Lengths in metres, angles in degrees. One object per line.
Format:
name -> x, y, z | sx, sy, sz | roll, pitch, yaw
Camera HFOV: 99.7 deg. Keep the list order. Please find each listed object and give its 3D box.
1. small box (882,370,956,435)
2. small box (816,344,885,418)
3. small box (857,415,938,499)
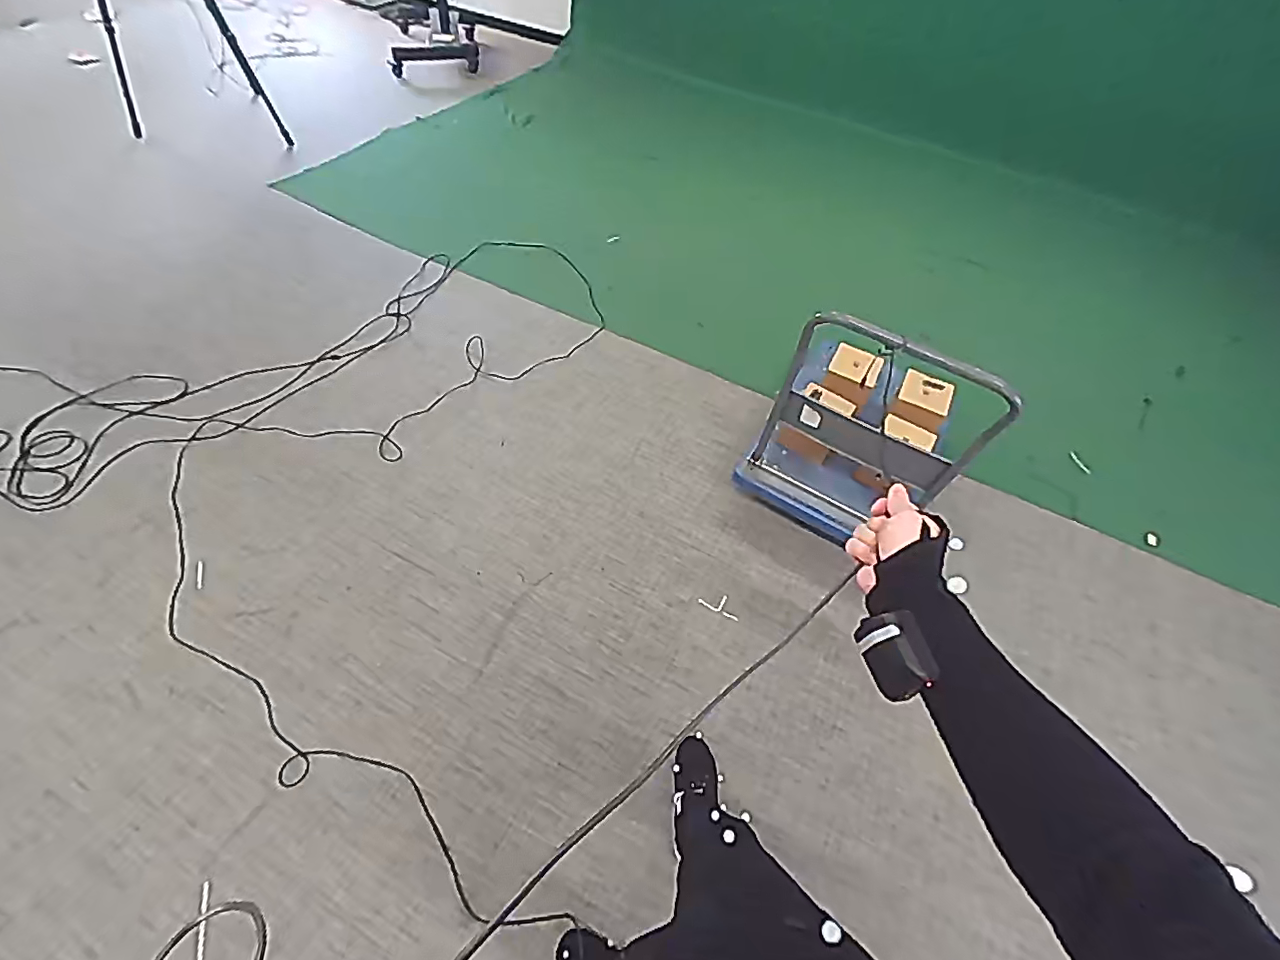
small box -> 0.989, -0.252, 1.928 | 0.168, 0.176, 0.179 | 26, 57, 14
small box -> 0.768, -0.358, 1.985 | 0.168, 0.176, 0.179 | 26, 56, 13
small box -> 0.844, -0.074, 1.785 | 0.168, 0.176, 0.179 | 30, 57, 16
